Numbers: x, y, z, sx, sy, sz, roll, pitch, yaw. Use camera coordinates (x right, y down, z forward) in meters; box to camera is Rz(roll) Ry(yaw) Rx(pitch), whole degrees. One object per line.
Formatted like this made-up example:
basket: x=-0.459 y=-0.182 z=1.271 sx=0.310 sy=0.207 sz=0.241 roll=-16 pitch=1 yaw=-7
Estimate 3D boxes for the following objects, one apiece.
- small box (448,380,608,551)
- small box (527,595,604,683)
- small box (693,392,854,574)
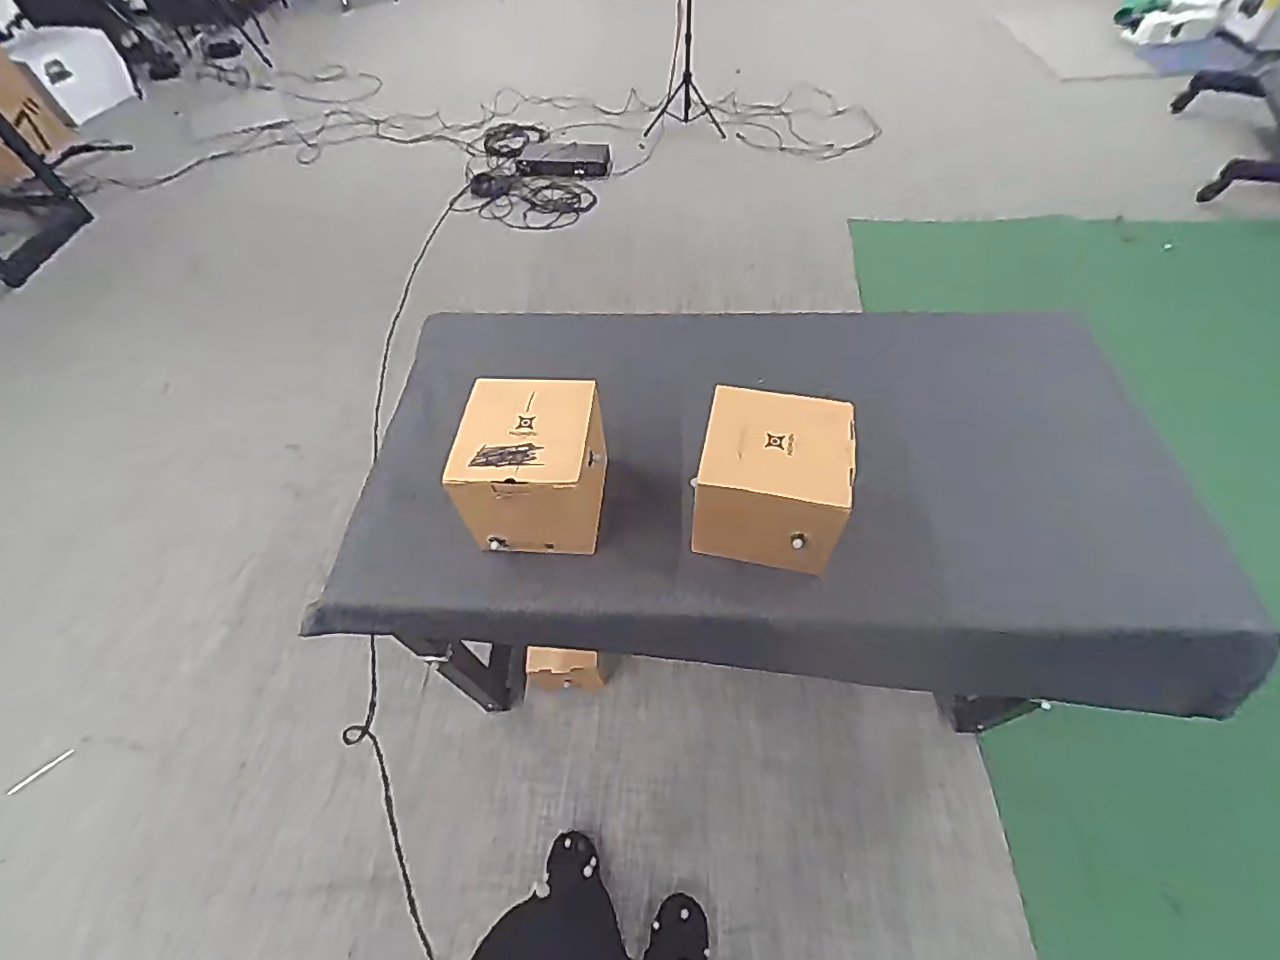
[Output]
small box: x=-0.139 y=-0.016 z=0.749 sx=0.168 sy=0.176 sz=0.179 roll=3 pitch=54 yaw=4
small box: x=-0.178 y=0.402 z=1.352 sx=0.168 sy=0.176 sz=0.179 roll=-2 pitch=56 yaw=1
small box: x=0.172 y=0.009 z=0.722 sx=0.179 sy=0.176 sz=0.168 roll=9 pitch=55 yaw=10
